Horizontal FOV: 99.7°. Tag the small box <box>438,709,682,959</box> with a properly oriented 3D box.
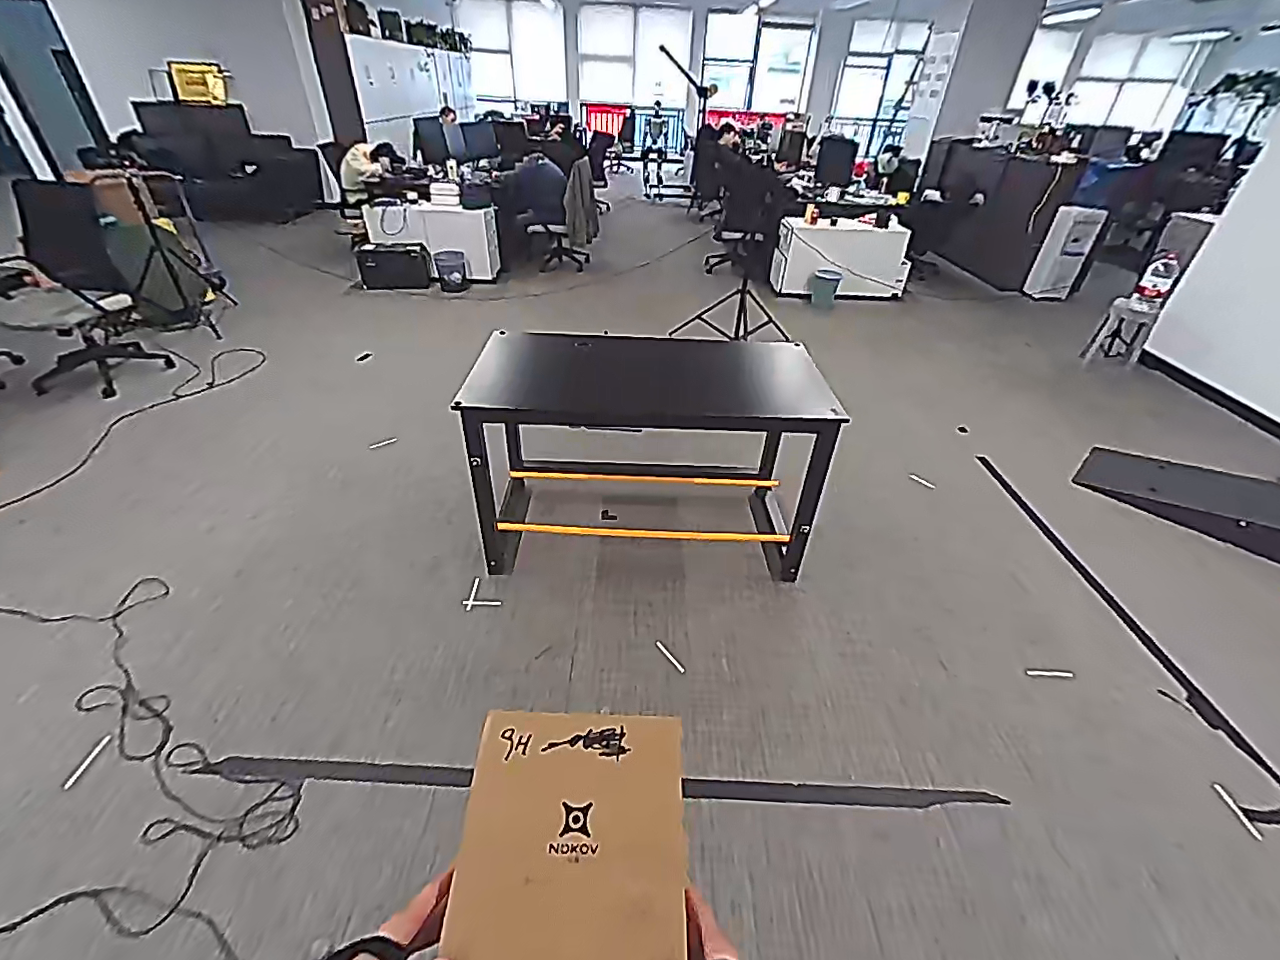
[{"bbox_3d":[-0.053,0.317,0.466,0.168,0.176,0.179,2,47,-2],"label":"small box"}]
